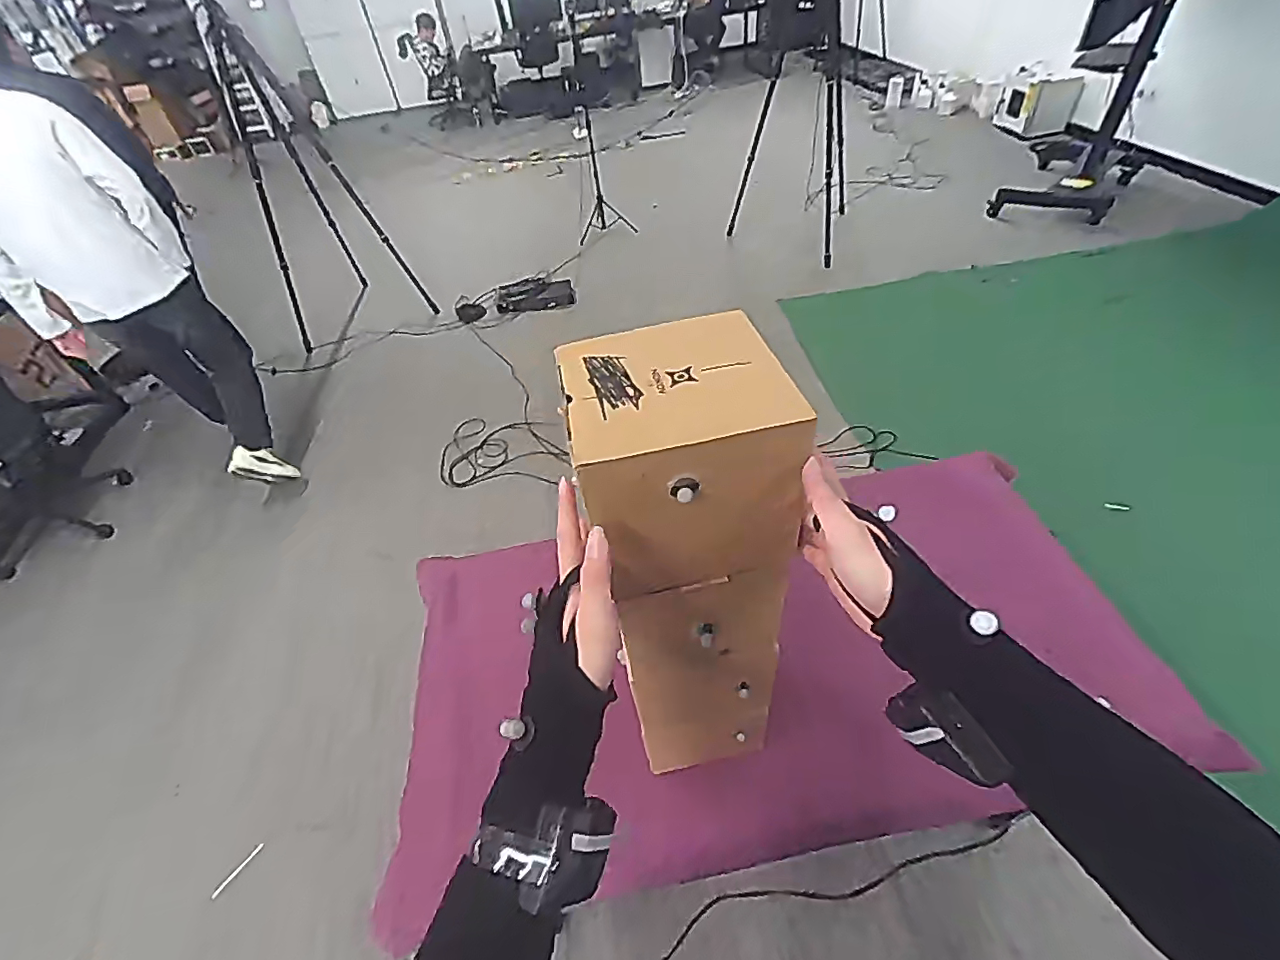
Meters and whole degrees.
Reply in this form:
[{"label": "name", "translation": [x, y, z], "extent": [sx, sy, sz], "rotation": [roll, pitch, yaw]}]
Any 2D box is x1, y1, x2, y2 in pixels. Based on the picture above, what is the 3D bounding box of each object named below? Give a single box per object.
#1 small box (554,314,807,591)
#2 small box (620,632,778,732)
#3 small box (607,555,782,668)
[{"label": "small box", "translation": [0.030, -0.022, 0.485], "extent": [0.179, 0.176, 0.168], "rotation": [-12, 45, -4]}, {"label": "small box", "translation": [0.067, 0.209, 0.715], "extent": [0.179, 0.176, 0.168], "rotation": [-12, 45, -2]}, {"label": "small box", "translation": [0.047, 0.091, 0.604], "extent": [0.168, 0.176, 0.179], "rotation": [-12, 46, -3]}]
